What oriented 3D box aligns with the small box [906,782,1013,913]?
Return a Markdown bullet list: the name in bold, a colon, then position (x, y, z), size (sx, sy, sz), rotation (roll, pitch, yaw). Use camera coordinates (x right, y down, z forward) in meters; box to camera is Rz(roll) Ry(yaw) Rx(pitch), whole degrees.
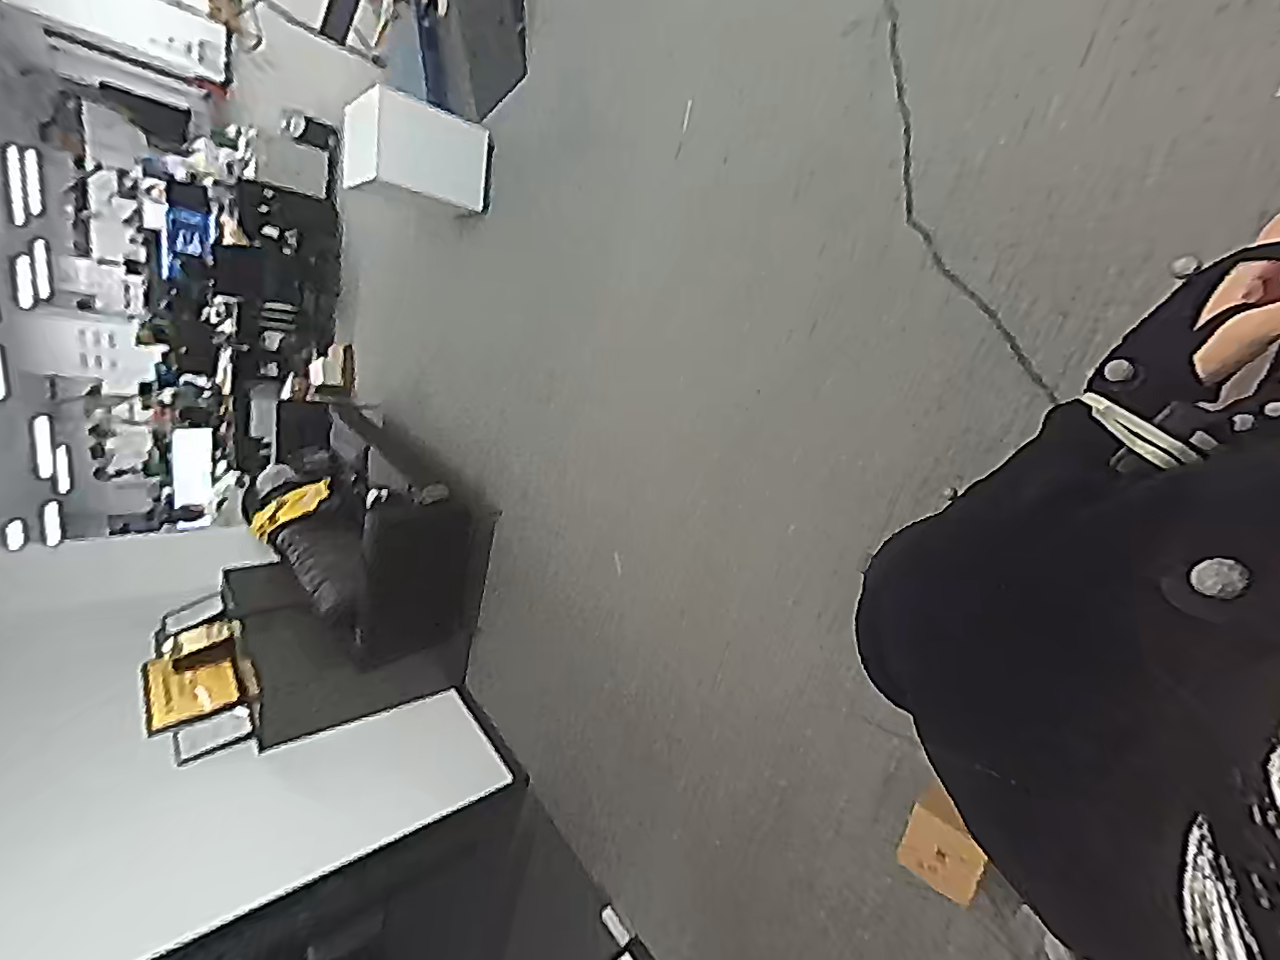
- **small box**: position (0.794, 0.895, 1.338), size (0.168, 0.176, 0.179), rotation (23, 109, 44)
